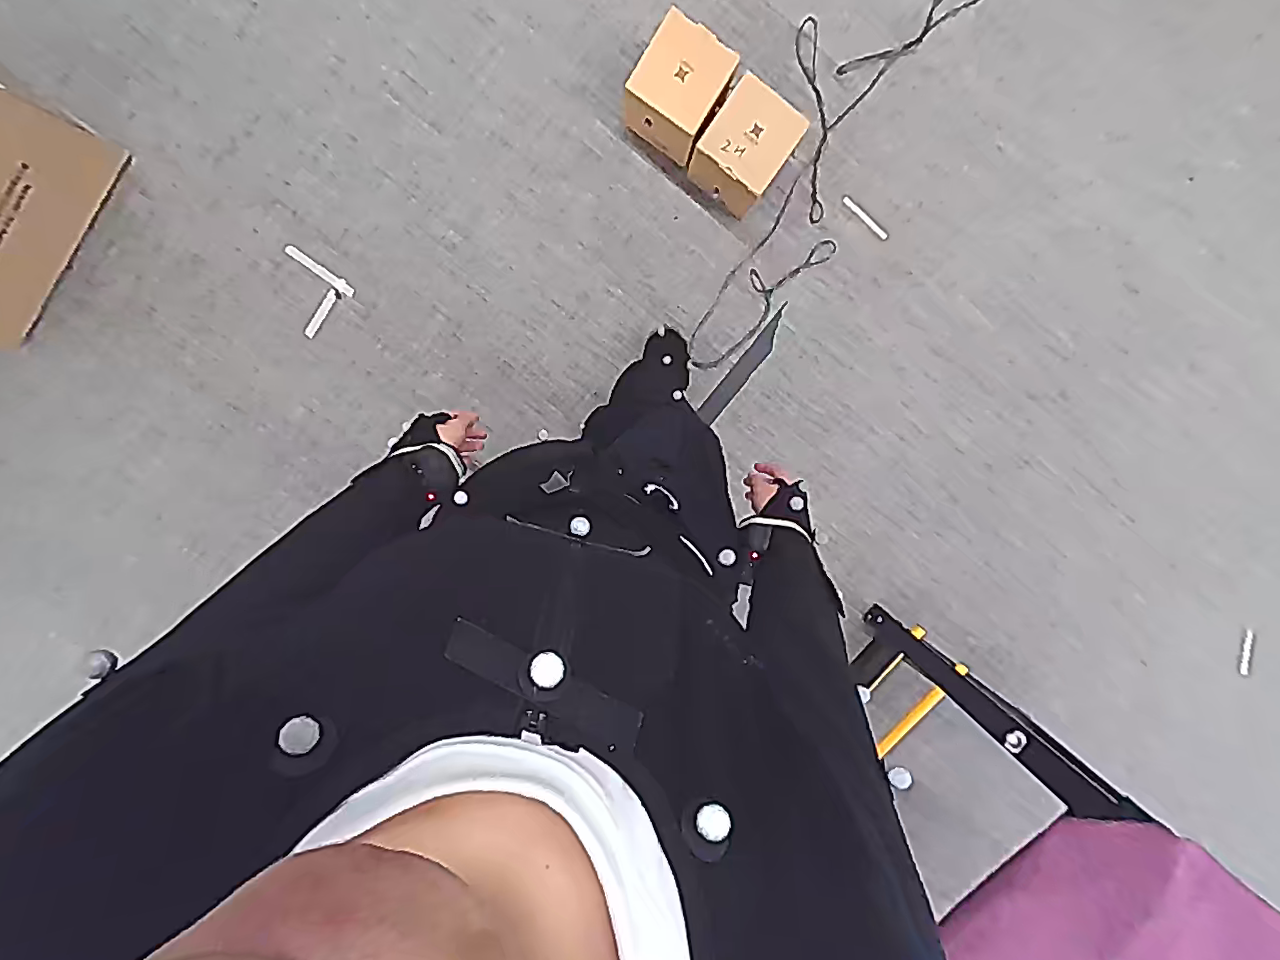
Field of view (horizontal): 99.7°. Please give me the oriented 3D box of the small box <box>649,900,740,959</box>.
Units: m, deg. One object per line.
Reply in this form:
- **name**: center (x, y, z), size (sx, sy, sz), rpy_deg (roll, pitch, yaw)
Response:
- **small box**: center (0.137, 1.222, 1.369), size (0.179, 0.176, 0.168), rpy_deg (38, 95, -8)
